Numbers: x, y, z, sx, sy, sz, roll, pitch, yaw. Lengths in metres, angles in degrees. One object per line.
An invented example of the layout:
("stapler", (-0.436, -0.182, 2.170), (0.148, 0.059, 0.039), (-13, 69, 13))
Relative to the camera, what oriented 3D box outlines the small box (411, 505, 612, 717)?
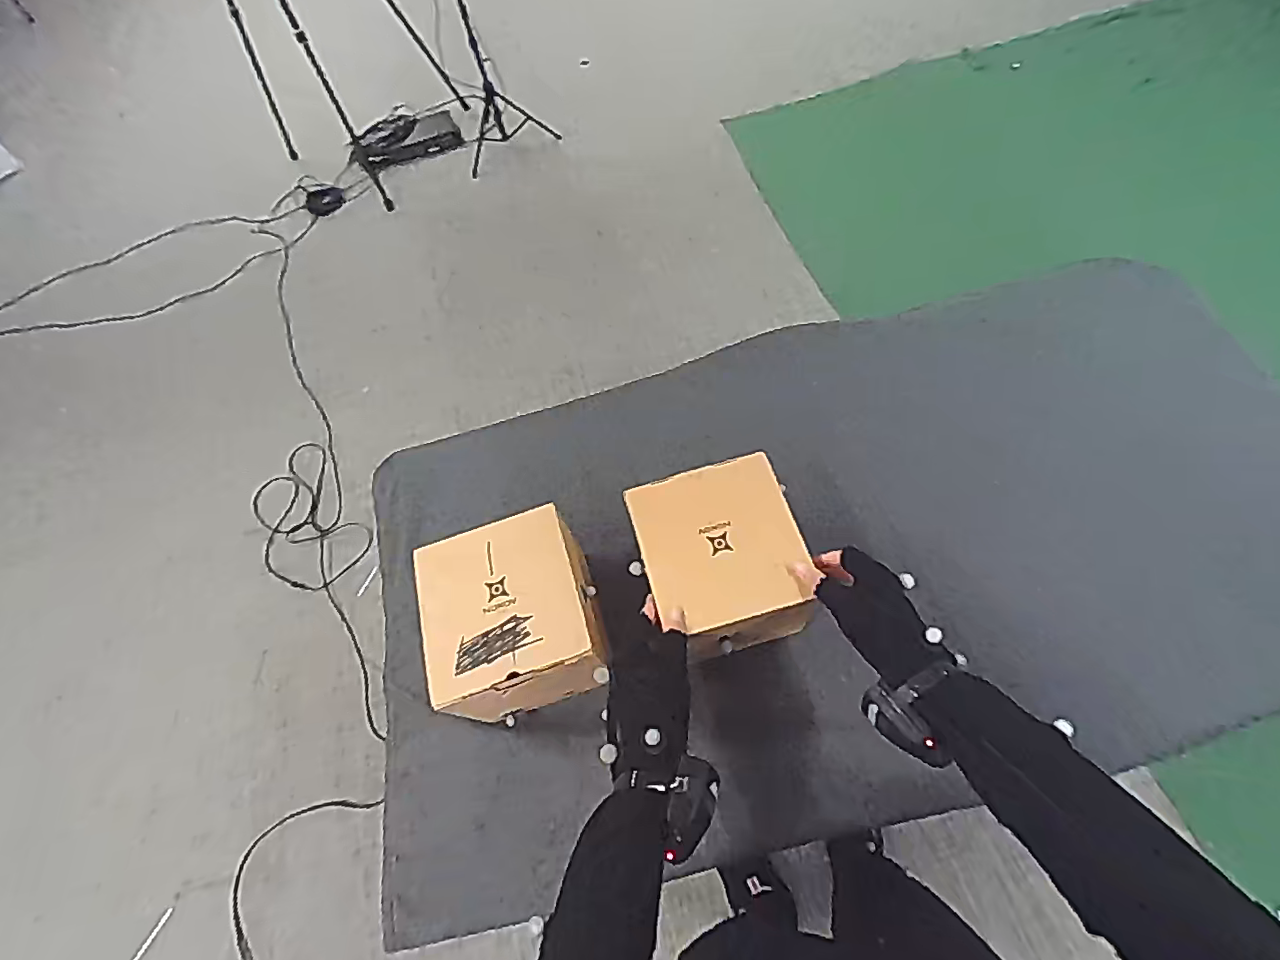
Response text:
("small box", (-0.140, 0.160, 0.625), (0.168, 0.176, 0.179), (-19, 60, -3))
